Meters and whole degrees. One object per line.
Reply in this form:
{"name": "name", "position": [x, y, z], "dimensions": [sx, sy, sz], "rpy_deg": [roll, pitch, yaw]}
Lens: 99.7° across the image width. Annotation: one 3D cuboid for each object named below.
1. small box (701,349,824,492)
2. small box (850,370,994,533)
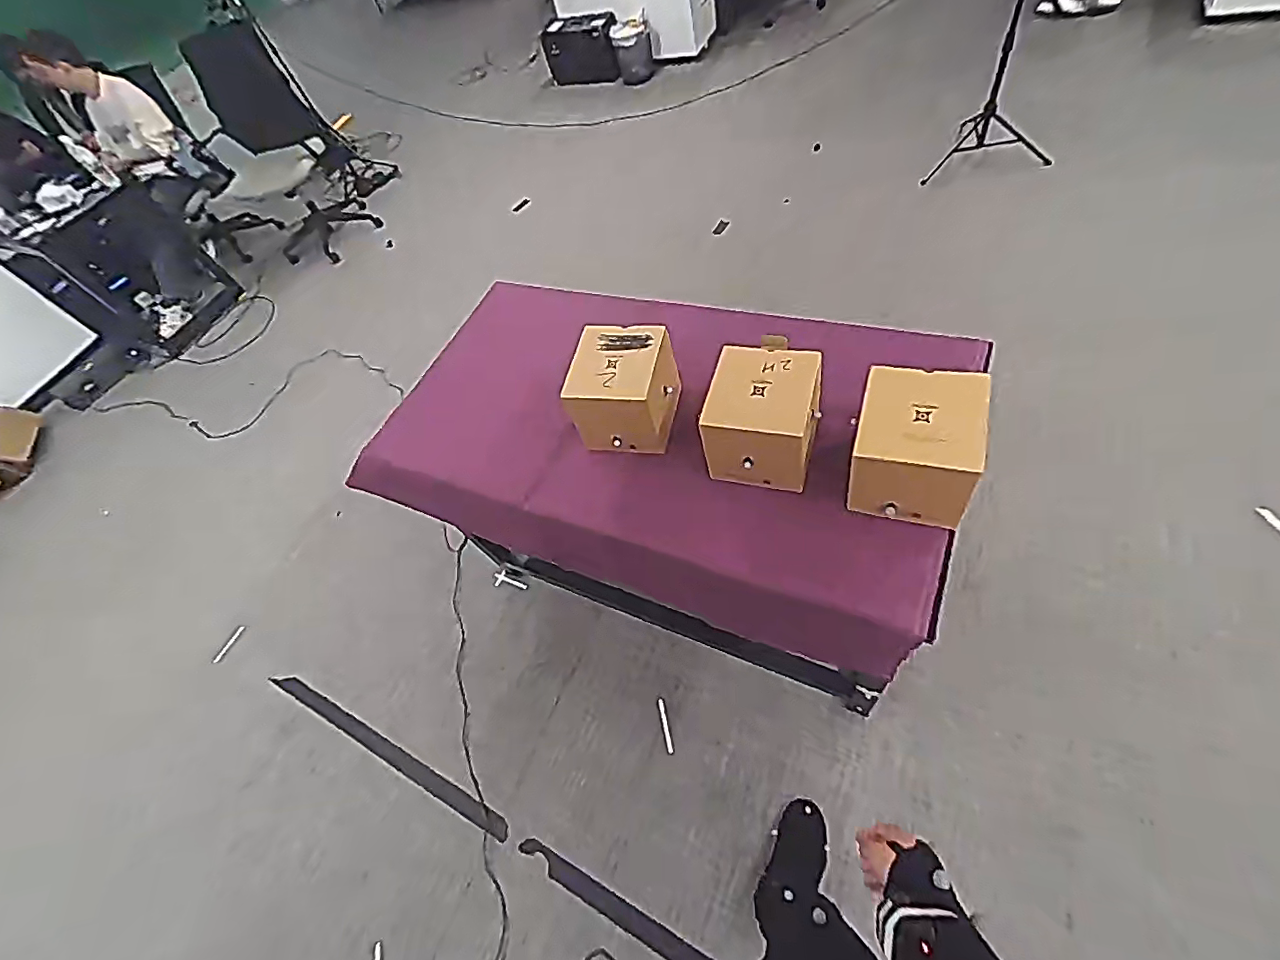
{"name": "small box", "position": [0.217, -0.100, 0.936], "dimensions": [0.168, 0.176, 0.179], "rpy_deg": [10, 61, 21]}
{"name": "small box", "position": [0.429, -0.044, 0.839], "dimensions": [0.168, 0.176, 0.179], "rpy_deg": [11, 61, 24]}
